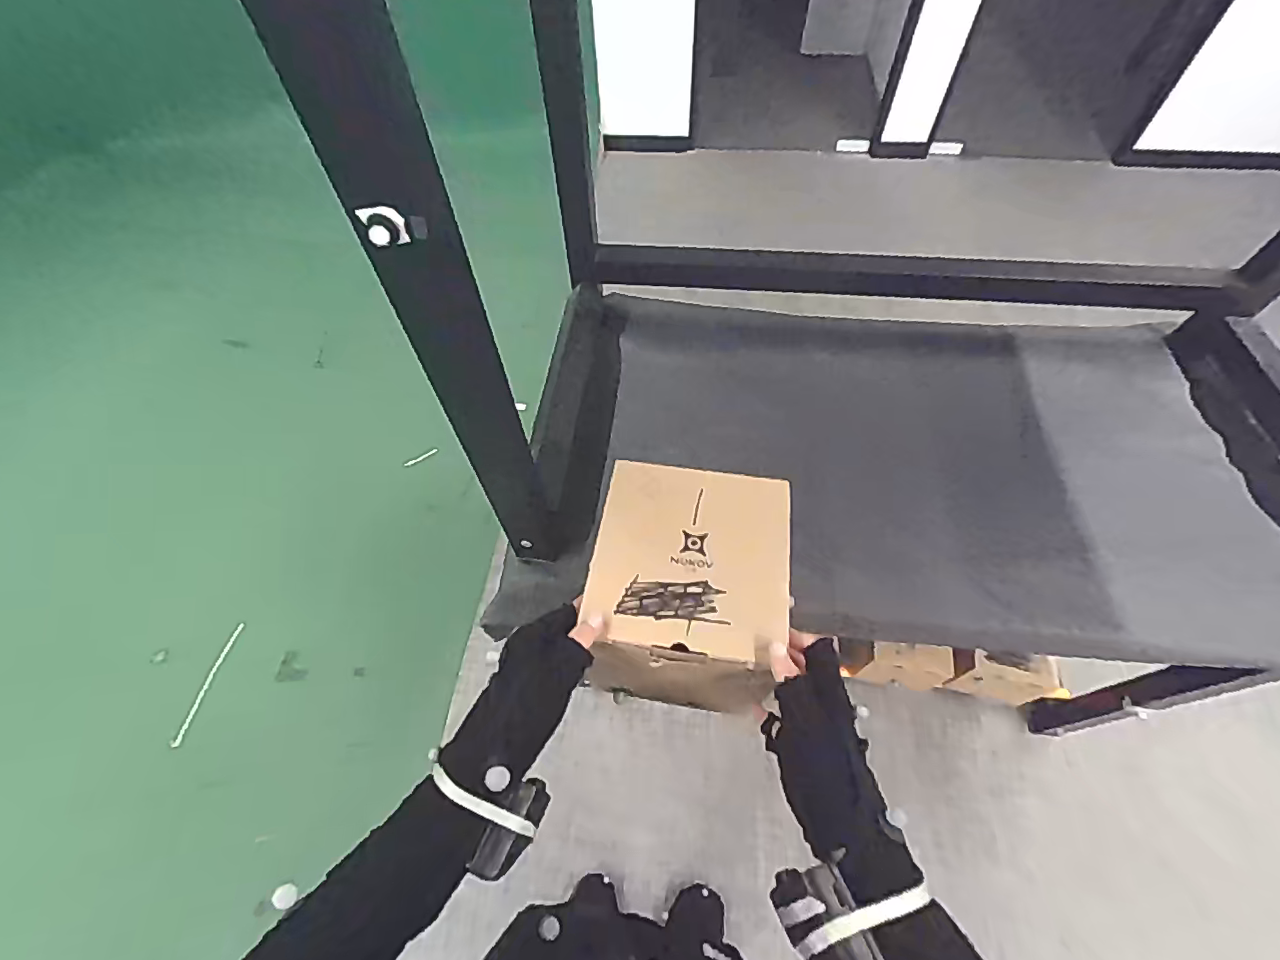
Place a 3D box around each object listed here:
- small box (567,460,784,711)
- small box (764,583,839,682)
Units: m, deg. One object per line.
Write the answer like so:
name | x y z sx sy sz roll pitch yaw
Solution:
small box | 0.039 0.106 0.522 0.168 0.176 0.179 8 55 7
small box | 0.359 0.358 1.273 0.168 0.176 0.179 6 59 6
